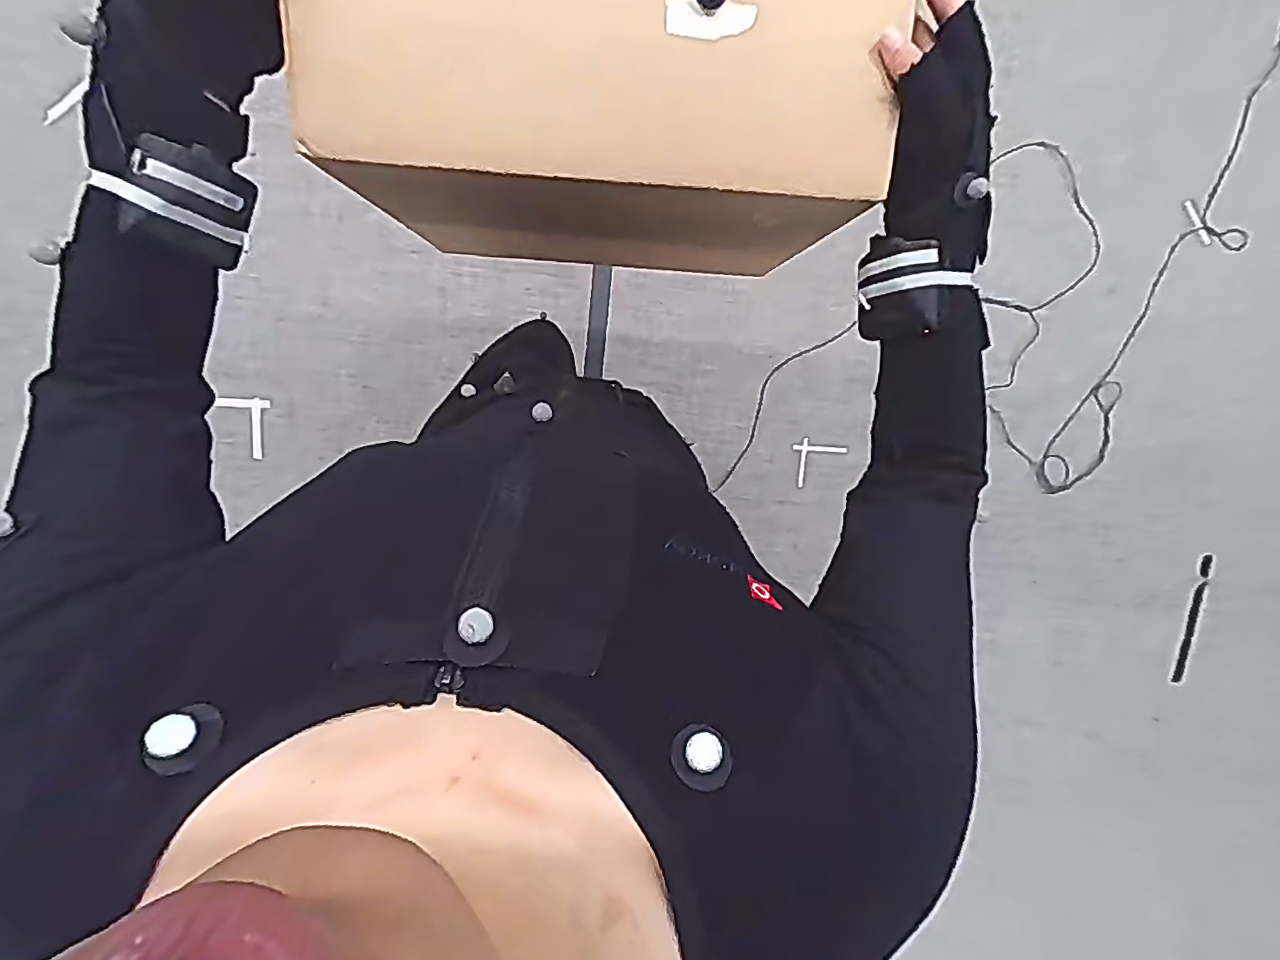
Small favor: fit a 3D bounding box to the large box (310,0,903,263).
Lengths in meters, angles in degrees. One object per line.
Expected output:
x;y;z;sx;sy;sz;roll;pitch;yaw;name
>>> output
-0.025;-0.400;0.498;0.408;0.320;0.320;2;102;-4;large box
